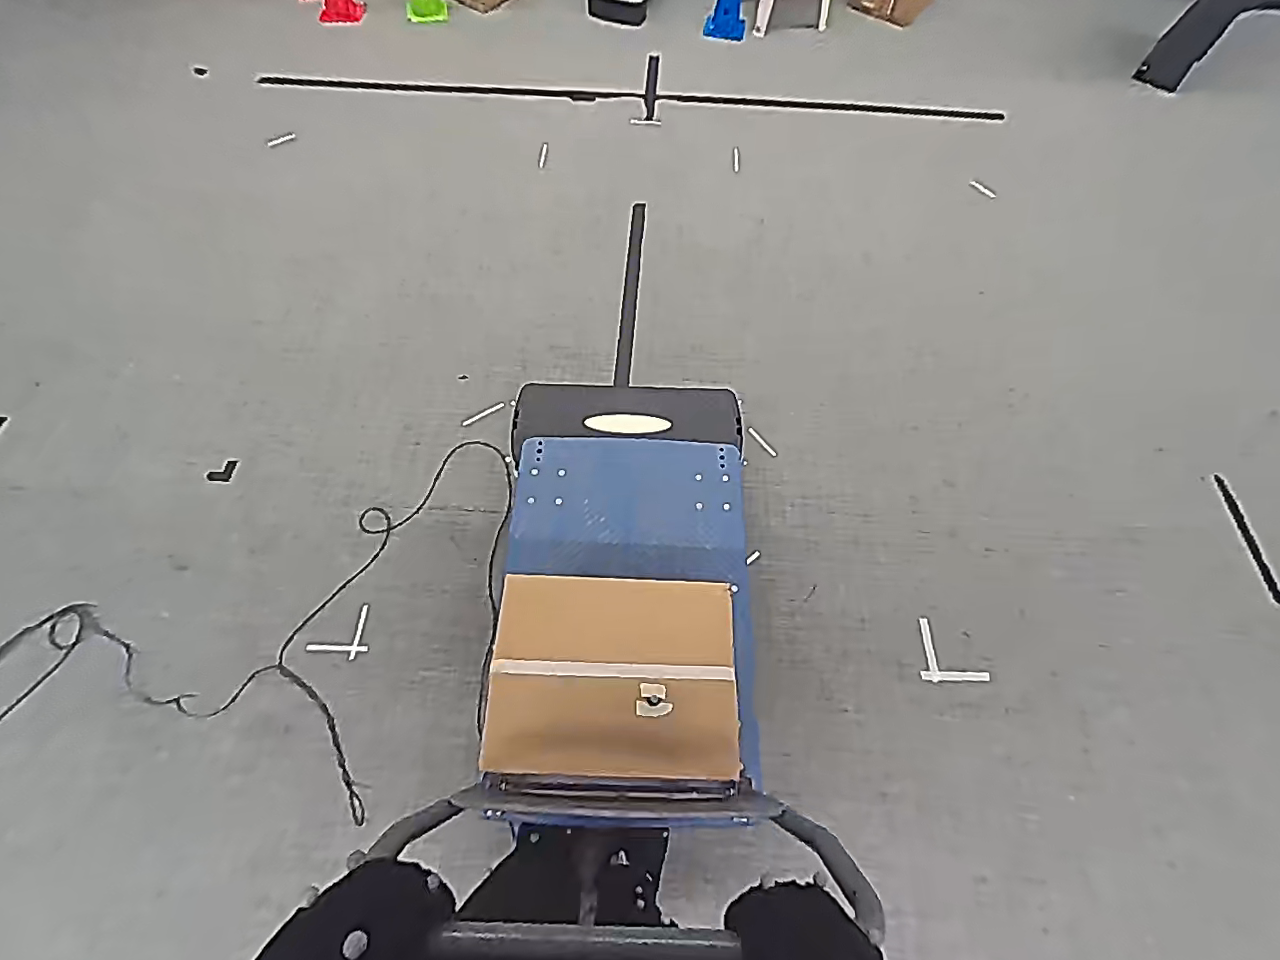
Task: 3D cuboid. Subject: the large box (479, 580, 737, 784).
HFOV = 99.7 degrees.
[{"bbox_3d":[-0.053,0.390,1.024,0.408,0.320,0.320,3,64,-1],"label":"large box"}]
